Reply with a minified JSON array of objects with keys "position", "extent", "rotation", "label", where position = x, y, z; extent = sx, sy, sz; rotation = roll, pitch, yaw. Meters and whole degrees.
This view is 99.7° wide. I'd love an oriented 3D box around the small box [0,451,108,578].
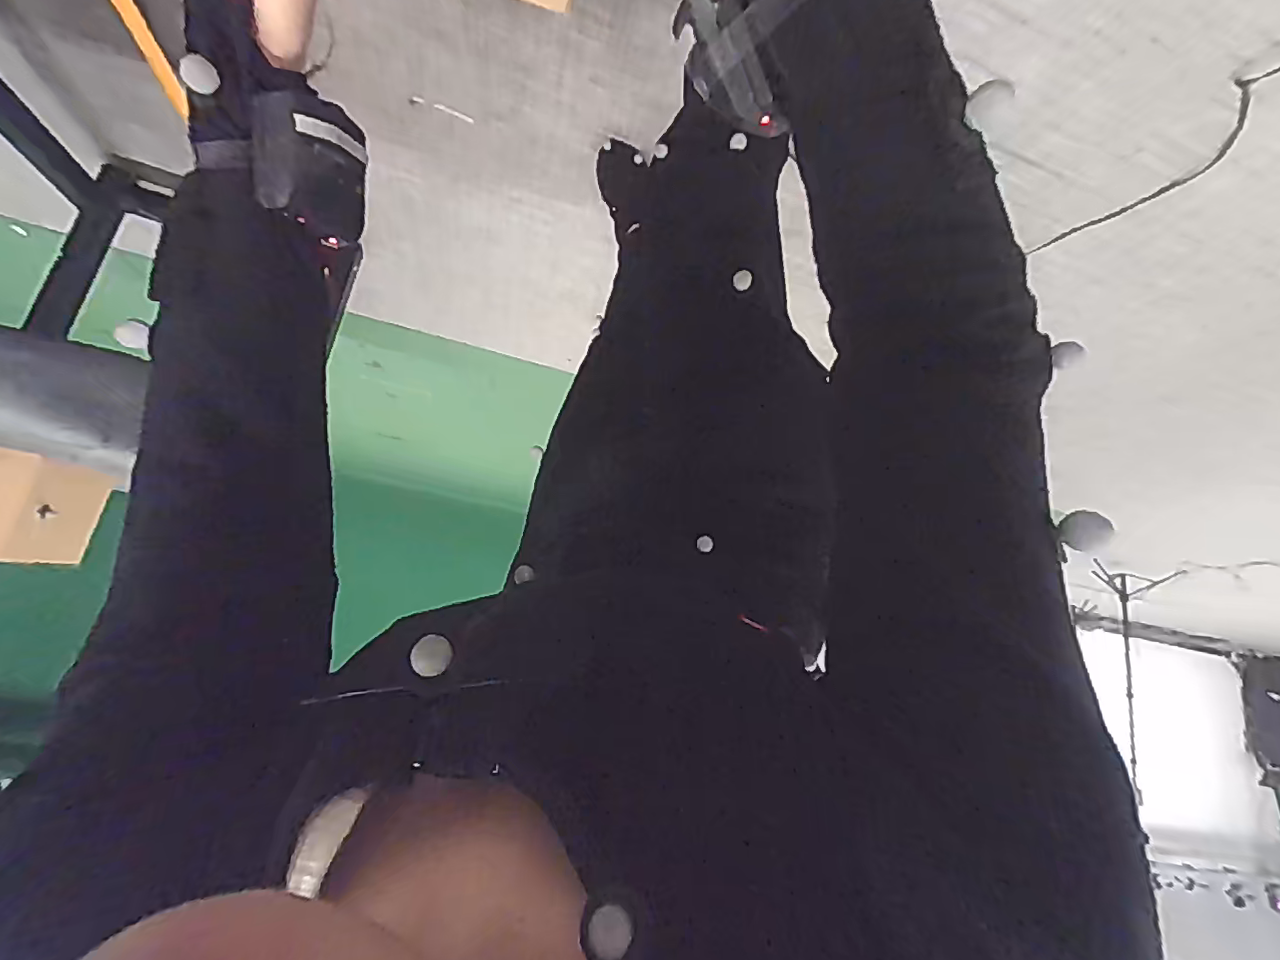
[{"position":[-0.955,0.043,0.793],"extent":[0.168,0.176,0.179],"rotation":[15,165,-15],"label":"small box"}]
